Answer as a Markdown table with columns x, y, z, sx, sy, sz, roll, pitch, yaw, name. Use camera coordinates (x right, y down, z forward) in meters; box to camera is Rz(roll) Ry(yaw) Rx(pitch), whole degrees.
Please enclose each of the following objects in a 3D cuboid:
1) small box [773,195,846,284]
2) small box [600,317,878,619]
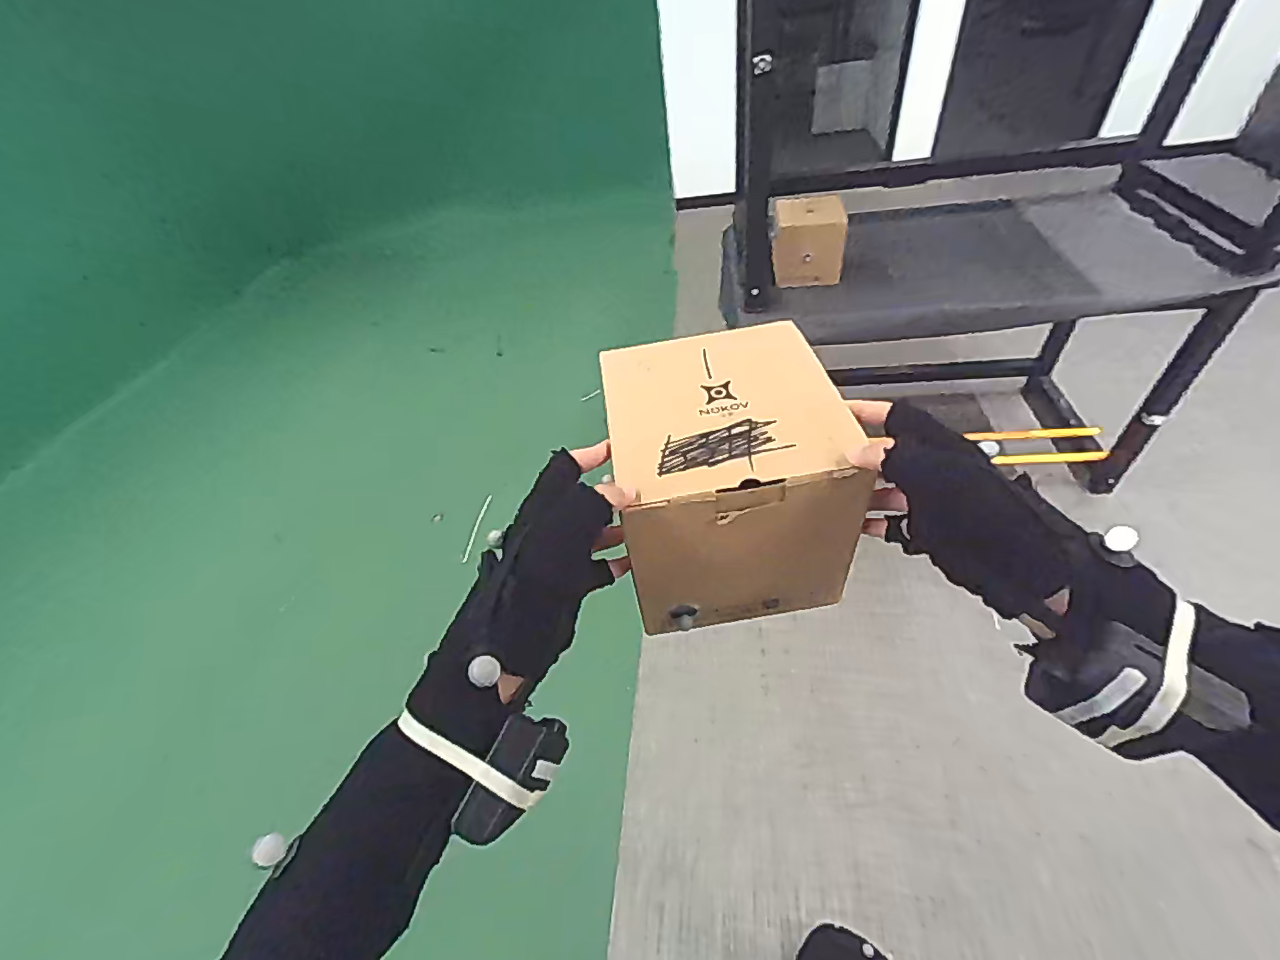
| x | y | z | sx | sy | sz | roll | pitch | yaw | name |
| --- | --- | --- | --- | --- | --- | --- | --- | --- | --- |
| 0.449 | -0.641 | 1.454 | 0.168 | 0.176 | 0.179 | 0 | 46 | 10 | small box |
| 0.066 | -0.003 | 0.440 | 0.168 | 0.176 | 0.179 | -9 | 46 | 0 | small box |
